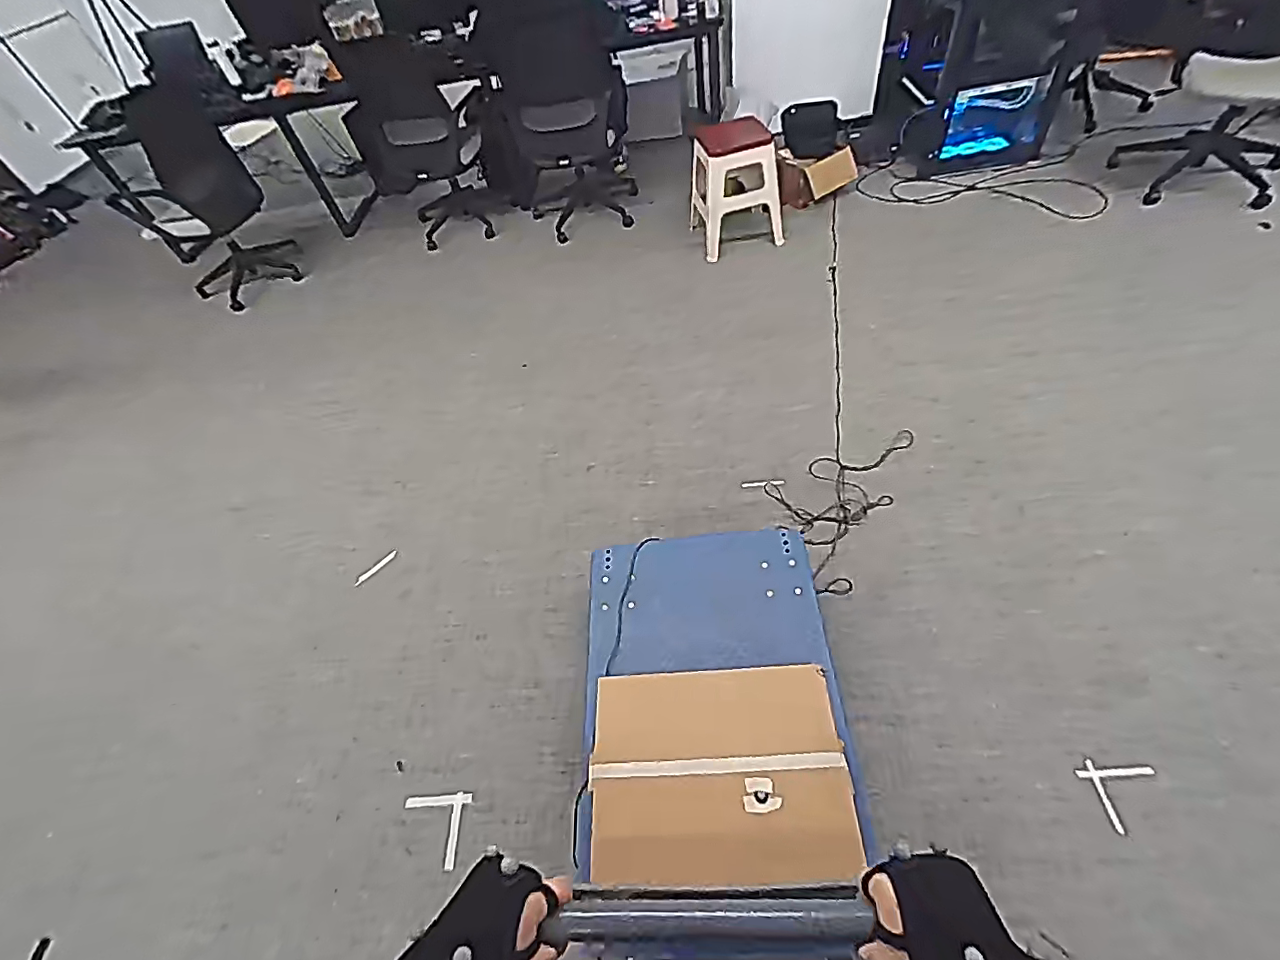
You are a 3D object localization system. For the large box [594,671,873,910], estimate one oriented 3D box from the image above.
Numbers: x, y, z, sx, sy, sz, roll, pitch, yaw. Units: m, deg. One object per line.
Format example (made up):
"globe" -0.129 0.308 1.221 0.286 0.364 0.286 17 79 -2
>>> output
"large box" 0.143 0.564 0.969 0.408 0.320 0.320 -5 51 6
